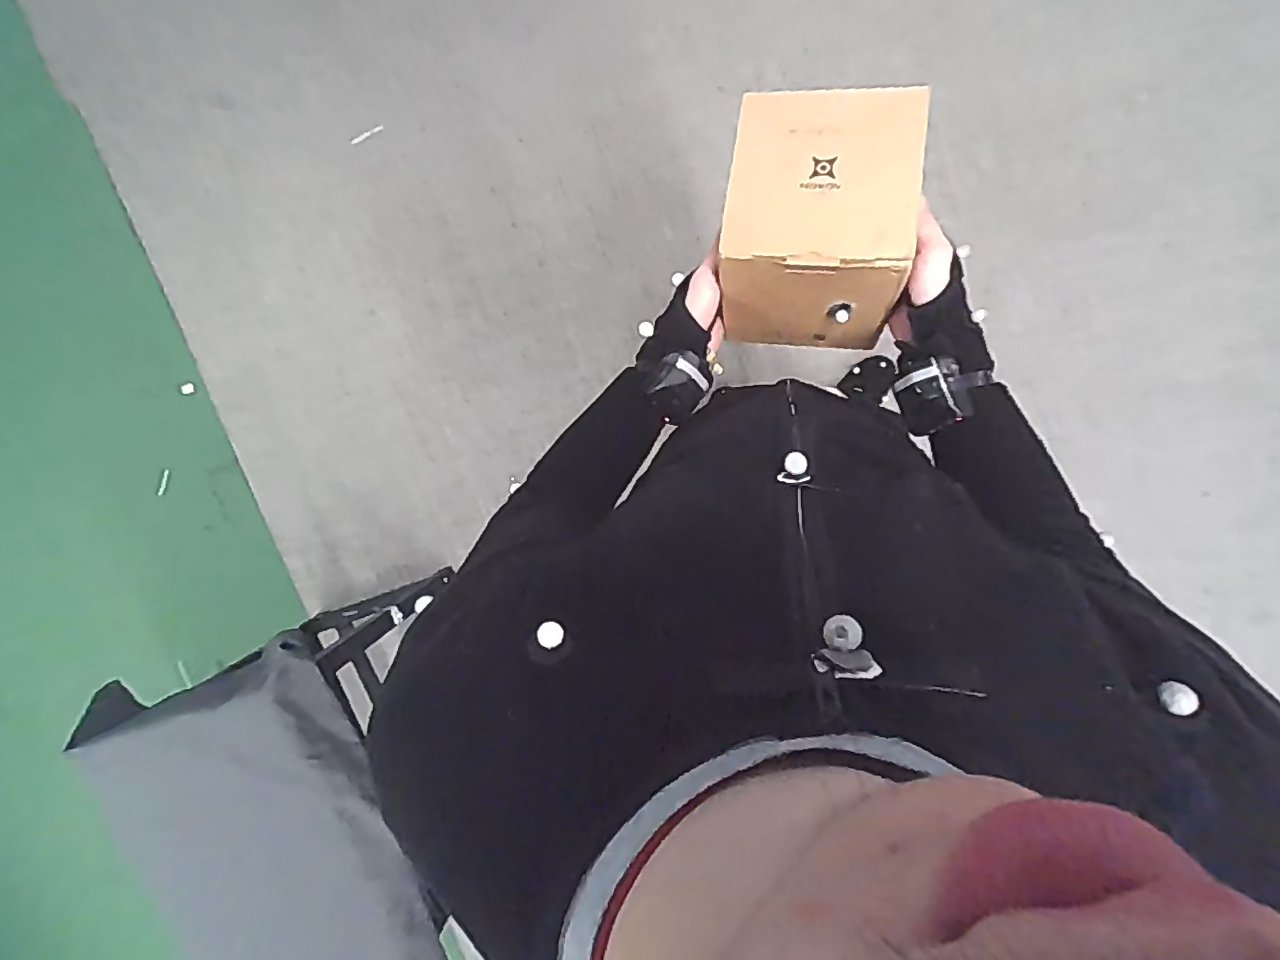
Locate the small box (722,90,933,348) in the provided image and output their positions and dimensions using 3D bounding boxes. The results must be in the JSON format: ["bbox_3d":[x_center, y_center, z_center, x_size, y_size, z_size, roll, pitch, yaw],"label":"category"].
[{"bbox_3d":[0.180,-0.253,0.555,0.168,0.176,0.179,8,77,11],"label":"small box"}]
